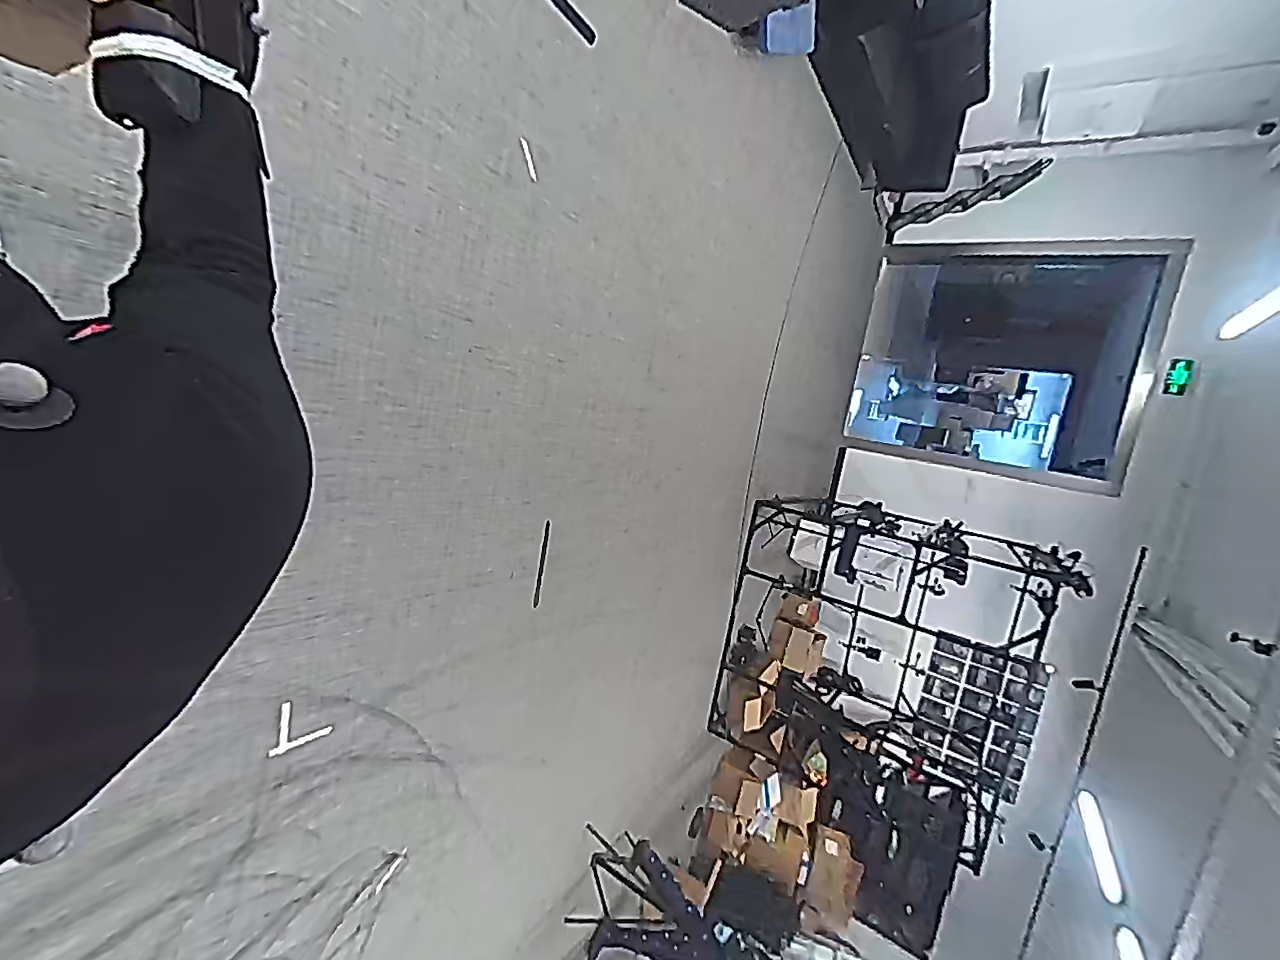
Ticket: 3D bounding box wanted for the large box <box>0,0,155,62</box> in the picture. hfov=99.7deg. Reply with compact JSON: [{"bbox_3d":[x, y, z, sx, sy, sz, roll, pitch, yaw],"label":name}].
[{"bbox_3d":[-0.544,-0.500,0.265,0.408,0.320,0.320,-5,112,-56],"label":"large box"}]
